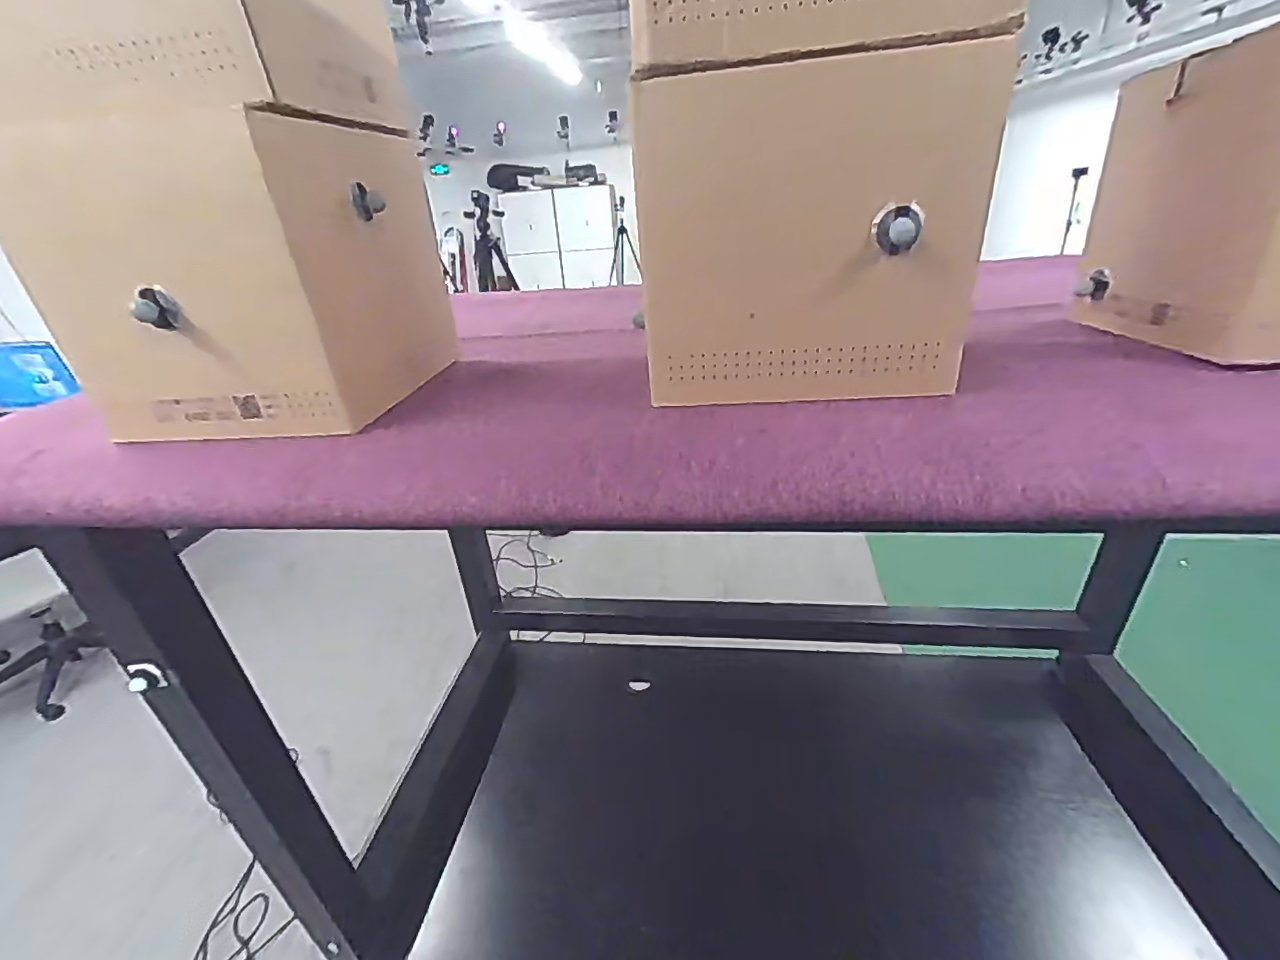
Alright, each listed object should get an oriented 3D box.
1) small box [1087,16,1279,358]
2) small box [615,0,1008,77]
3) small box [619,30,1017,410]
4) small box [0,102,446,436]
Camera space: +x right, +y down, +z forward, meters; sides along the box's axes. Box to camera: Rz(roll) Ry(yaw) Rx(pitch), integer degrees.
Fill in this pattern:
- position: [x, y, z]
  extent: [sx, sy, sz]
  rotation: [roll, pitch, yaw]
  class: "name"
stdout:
- position: [0.412, -0.173, 0.321]
  extent: [0.179, 0.176, 0.168]
  rotation: [0, 26, 10]
  class: "small box"
- position: [0.075, -0.298, 0.274]
  extent: [0.179, 0.176, 0.168]
  rotation: [-2, 27, 5]
  class: "small box"
- position: [0.090, -0.152, 0.346]
  extent: [0.179, 0.176, 0.168]
  rotation: [-3, 27, 7]
  class: "small box"
- position: [-0.252, -0.135, 0.364]
  extent: [0.168, 0.176, 0.179]
  rotation: [-1, 29, 6]
  class: "small box"
